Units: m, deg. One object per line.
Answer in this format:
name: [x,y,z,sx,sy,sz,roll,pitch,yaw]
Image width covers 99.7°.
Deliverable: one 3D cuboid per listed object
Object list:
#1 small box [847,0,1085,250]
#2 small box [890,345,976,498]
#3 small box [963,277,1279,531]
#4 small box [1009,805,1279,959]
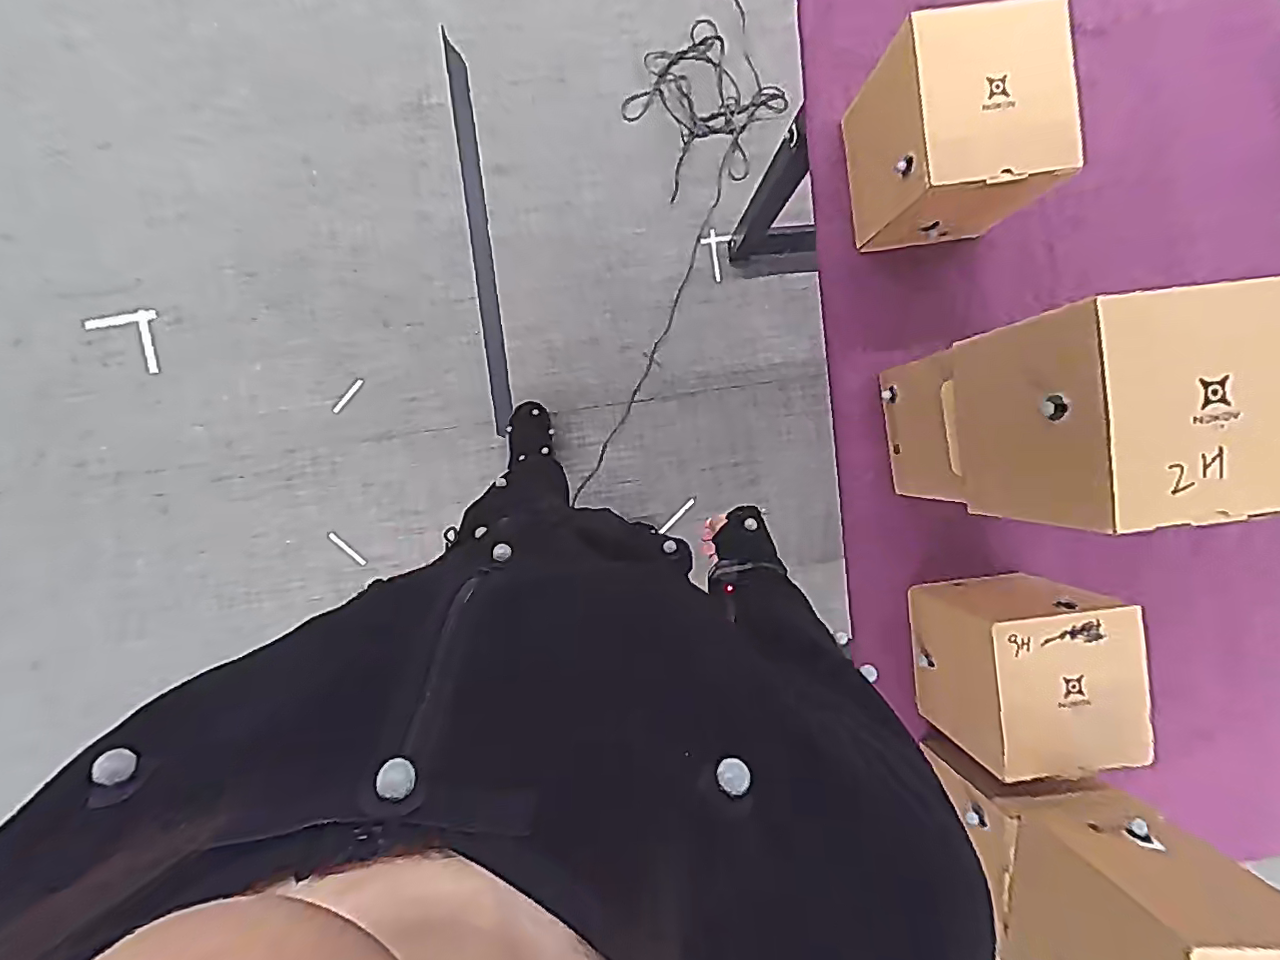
small box: [0.358,-0.392,0.625,0.168,0.176,0.179,-9,93,-3]
small box: [0.419,-0.072,0.641,0.179,0.176,0.168,-10,93,-3]
small box: [0.415,-0.059,0.476,0.168,0.176,0.179,-7,93,-2]
small box: [0.482,0.440,0.501,0.168,0.176,0.179,5,91,-6]
